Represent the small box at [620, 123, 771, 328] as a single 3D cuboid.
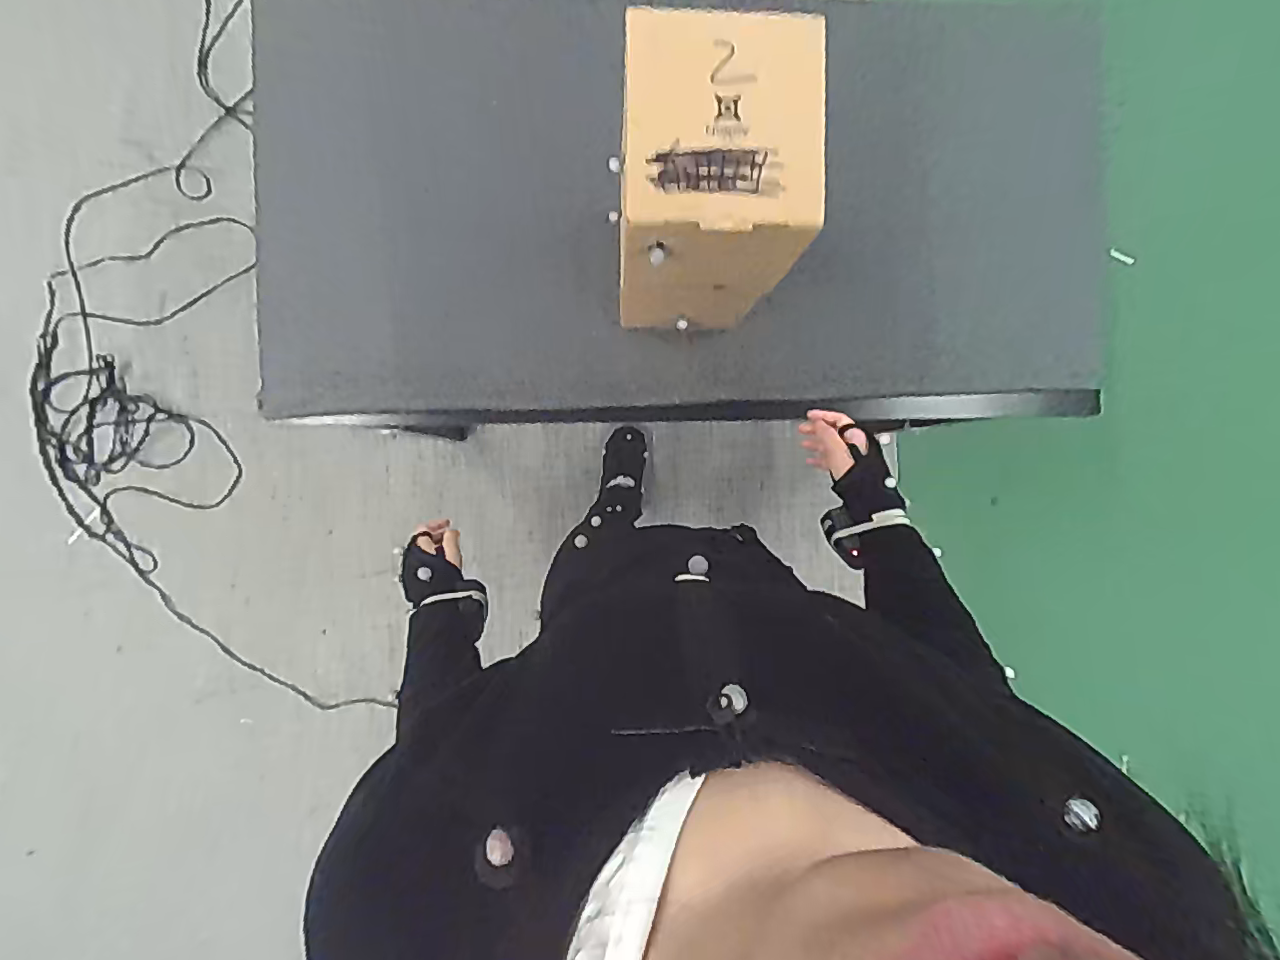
[{"bbox_3d":[0.059,-0.302,0.673,0.168,0.176,0.179,0,90,-2],"label":"small box"}]
